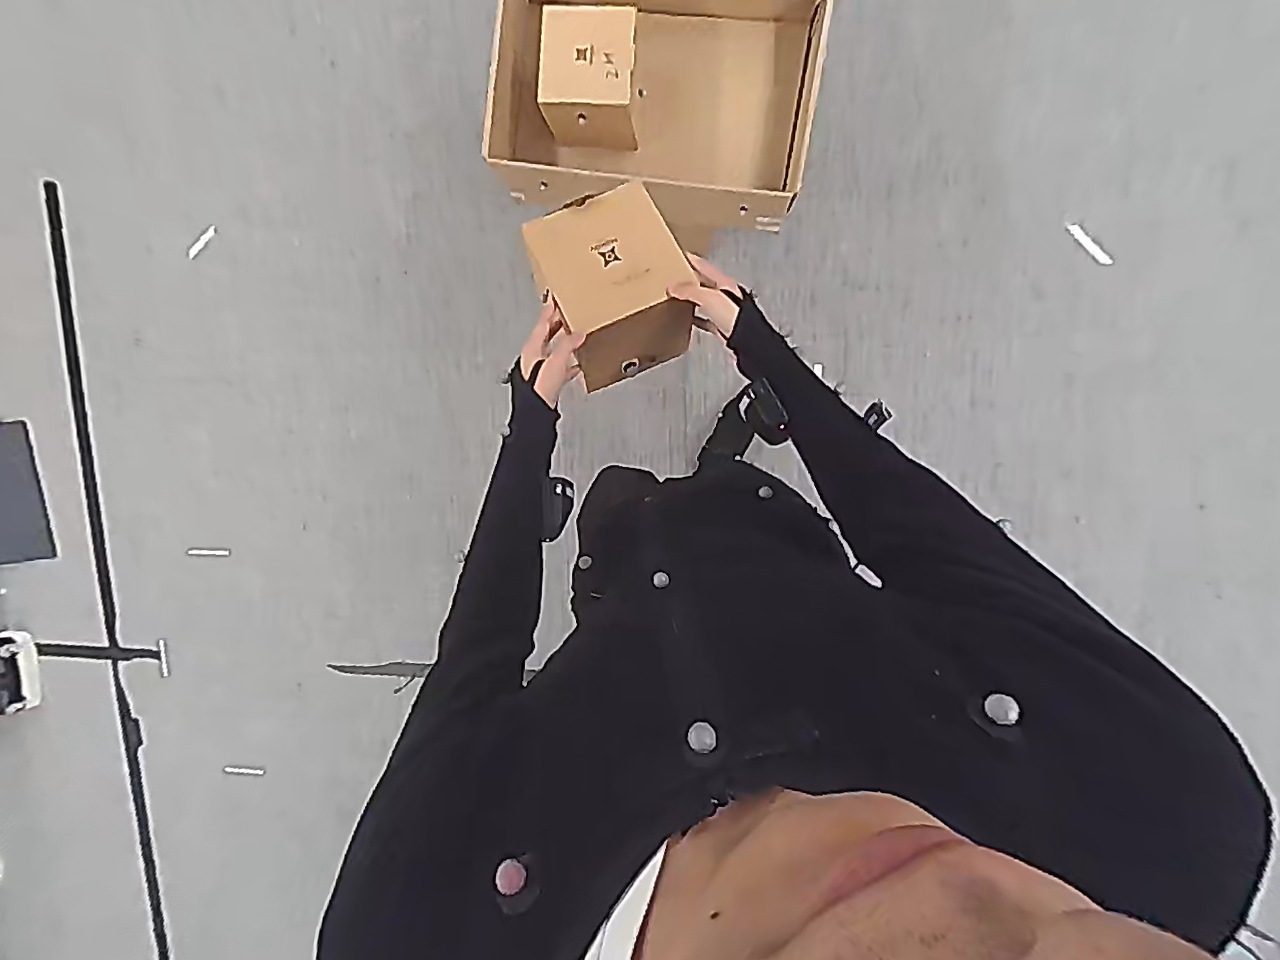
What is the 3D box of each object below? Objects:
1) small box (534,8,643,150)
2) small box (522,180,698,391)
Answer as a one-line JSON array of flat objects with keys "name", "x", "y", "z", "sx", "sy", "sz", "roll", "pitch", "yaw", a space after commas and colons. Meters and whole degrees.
[{"name": "small box", "x": -0.096, "y": -0.777, "z": 1.063, "sx": 0.179, "sy": 0.176, "sz": 0.168, "roll": 6, "pitch": 98, "yaw": 5}, {"name": "small box", "x": -0.040, "y": -0.252, "z": 0.729, "sx": 0.168, "sy": 0.176, "sz": 0.179, "roll": -25, "pitch": 76, "yaw": -6}]
